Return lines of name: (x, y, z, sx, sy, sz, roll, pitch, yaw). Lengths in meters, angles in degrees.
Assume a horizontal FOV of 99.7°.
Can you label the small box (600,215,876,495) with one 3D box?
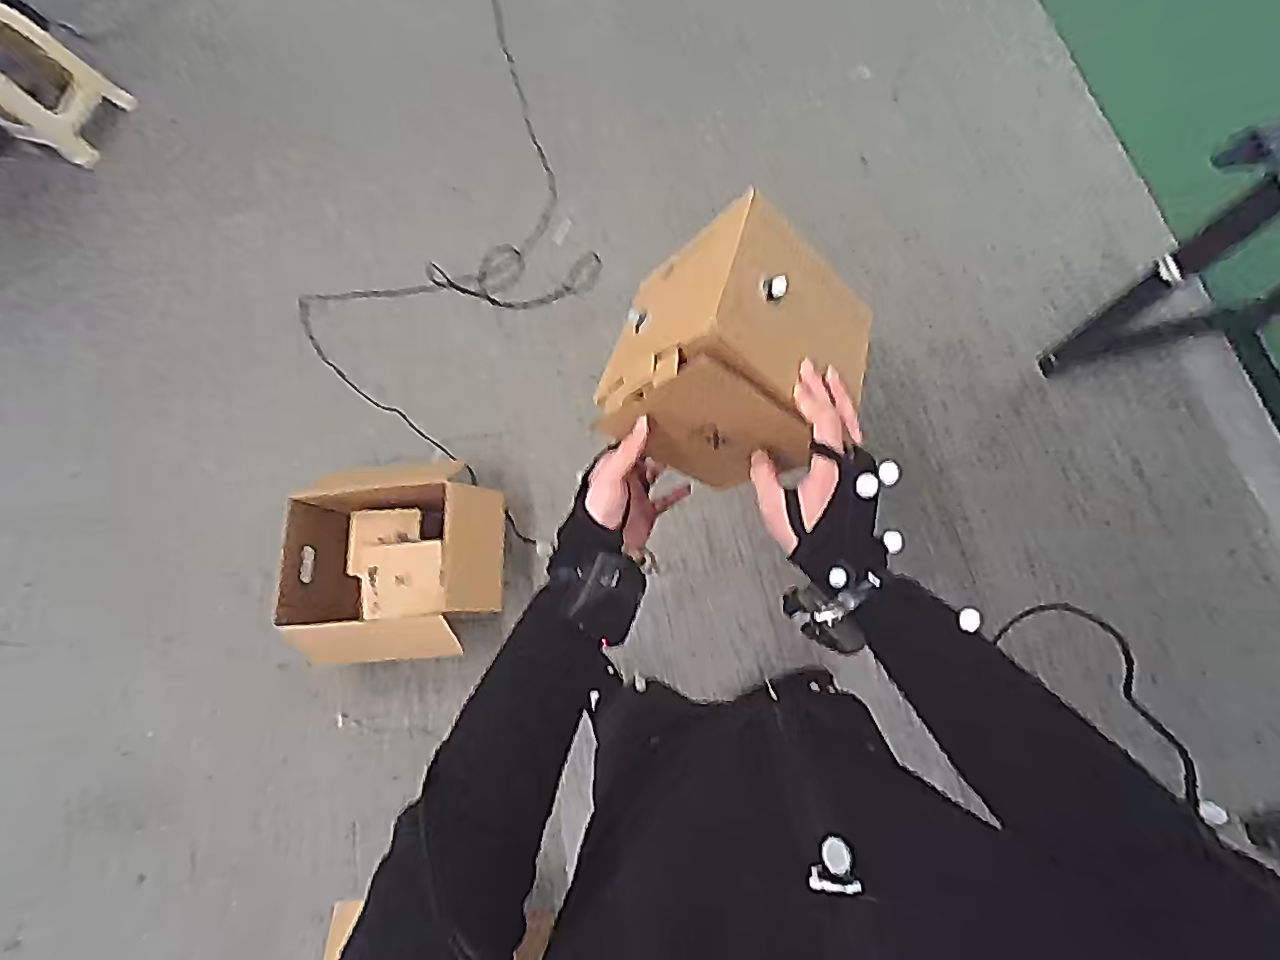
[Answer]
small box: (0.096, -0.112, 0.508, 0.179, 0.168, 0.176, 33, 60, -25)
